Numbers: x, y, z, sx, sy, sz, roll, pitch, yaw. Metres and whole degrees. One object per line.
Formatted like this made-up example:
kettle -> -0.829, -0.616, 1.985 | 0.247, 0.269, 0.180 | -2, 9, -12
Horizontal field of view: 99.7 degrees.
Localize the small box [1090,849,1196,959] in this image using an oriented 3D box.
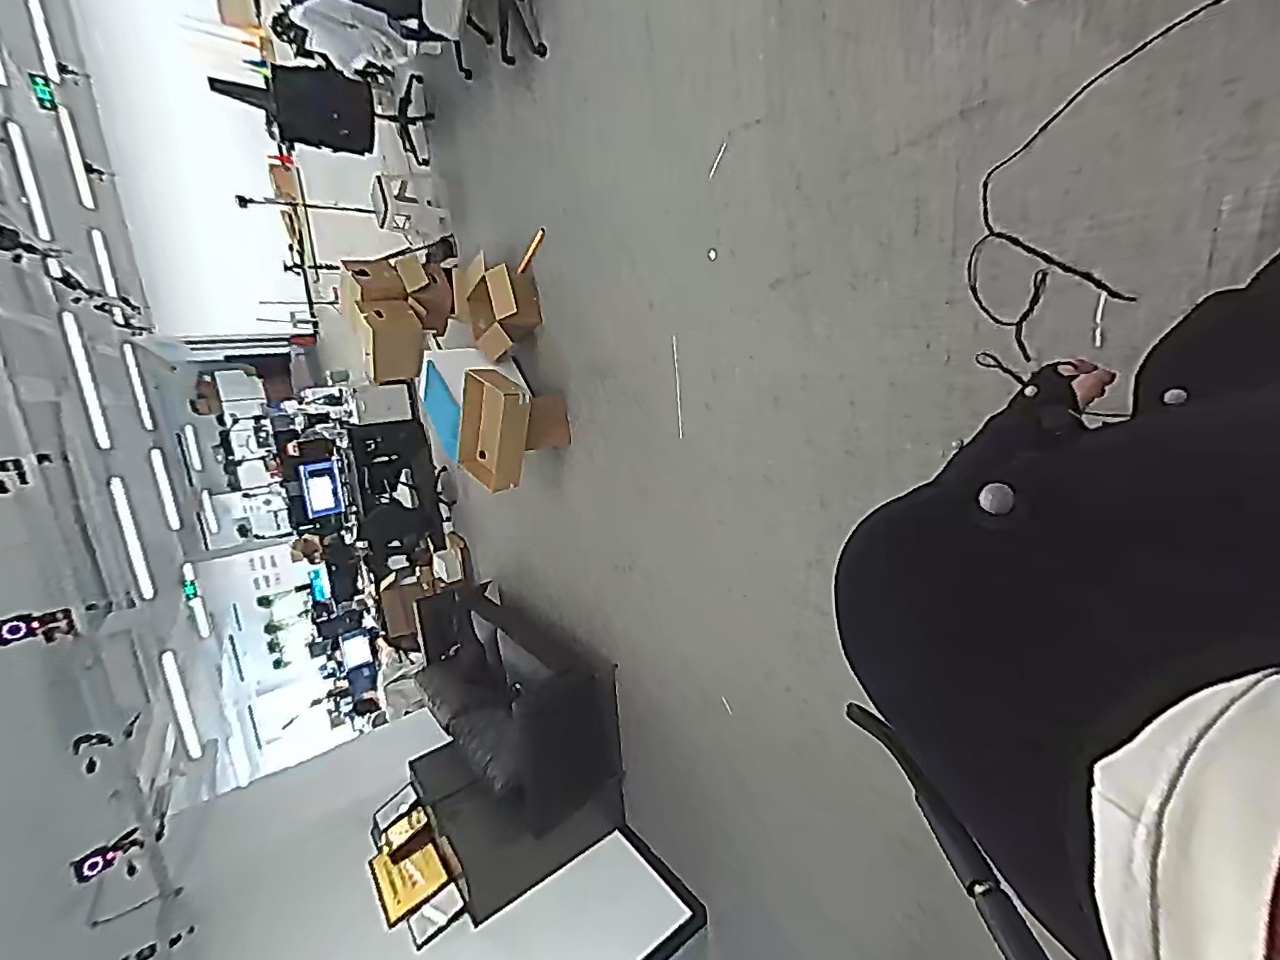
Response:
small box -> 1.253, 1.083, 1.346 | 0.168, 0.176, 0.179 | 2, 103, 55
